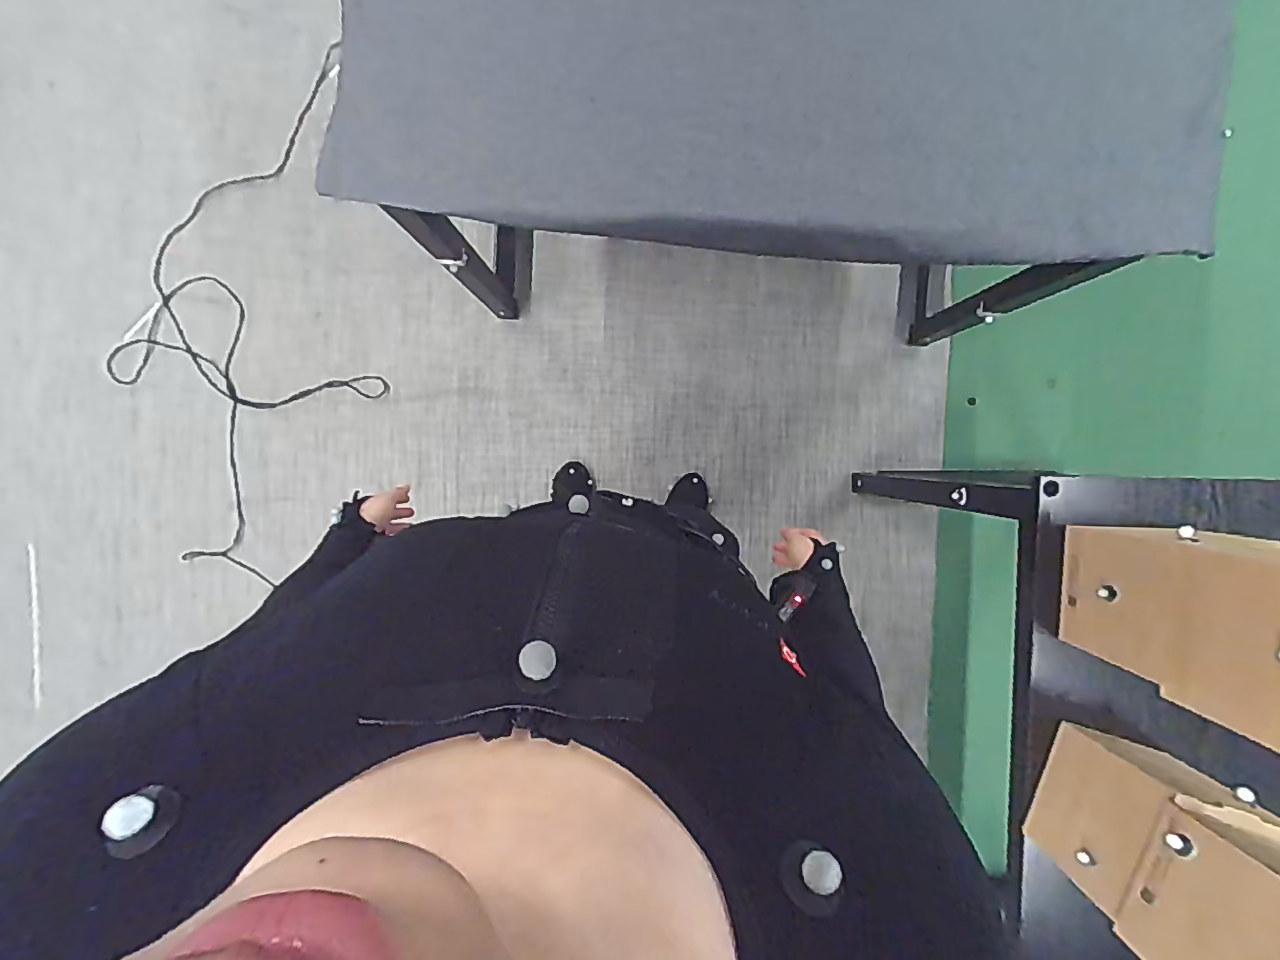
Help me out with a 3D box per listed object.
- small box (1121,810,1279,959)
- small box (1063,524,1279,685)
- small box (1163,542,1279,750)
[{"bbox_3d":[0.642,0.467,0.529,0.179,0.176,0.168,20,94,-1],"label":"small box"},{"bbox_3d":[0.678,0.149,0.677,0.179,0.176,0.168,2,94,0],"label":"small box"},{"bbox_3d":[0.660,0.162,0.516,0.168,0.176,0.179,2,93,1],"label":"small box"}]
